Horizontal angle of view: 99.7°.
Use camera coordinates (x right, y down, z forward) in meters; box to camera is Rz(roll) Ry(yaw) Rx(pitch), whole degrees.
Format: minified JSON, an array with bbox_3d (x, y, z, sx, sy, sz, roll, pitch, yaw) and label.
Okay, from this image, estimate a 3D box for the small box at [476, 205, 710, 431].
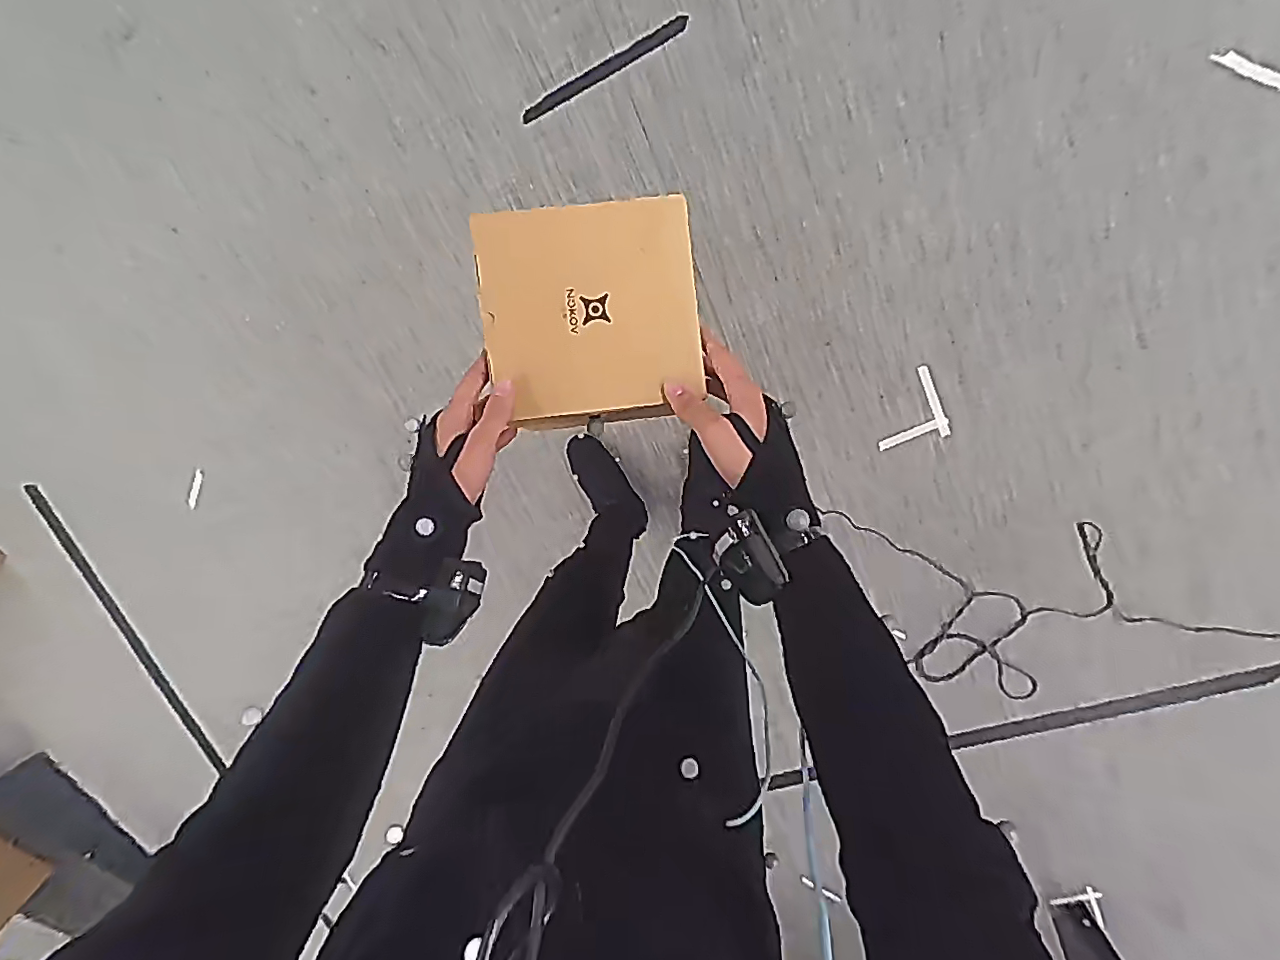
[{"bbox_3d":[-0.038,-0.137,0.516,0.179,0.176,0.168,-7,94,0],"label":"small box"}]
